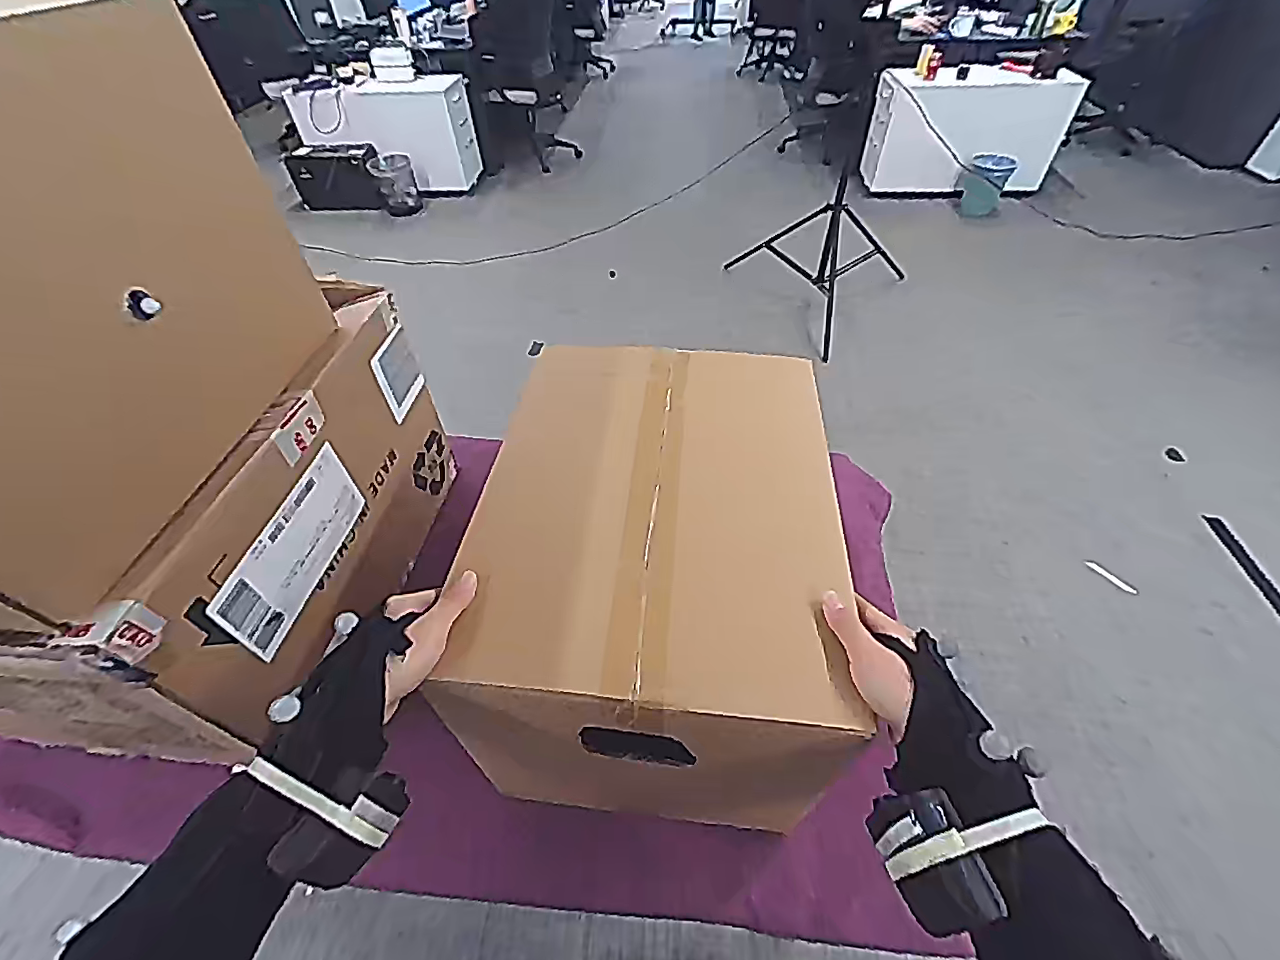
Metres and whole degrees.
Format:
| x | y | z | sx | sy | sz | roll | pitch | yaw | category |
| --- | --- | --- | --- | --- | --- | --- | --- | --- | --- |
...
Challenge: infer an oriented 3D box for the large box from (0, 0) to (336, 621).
| x | y | z | sx | sy | sz | roll | pitch | yaw | category |
| --- | --- | --- | --- | --- | --- | --- | --- | --- | --- |
| -0.530 | -0.148 | 0.429 | 0.320 | 0.320 | 0.408 | 1 | 48 | 6 | large box |
